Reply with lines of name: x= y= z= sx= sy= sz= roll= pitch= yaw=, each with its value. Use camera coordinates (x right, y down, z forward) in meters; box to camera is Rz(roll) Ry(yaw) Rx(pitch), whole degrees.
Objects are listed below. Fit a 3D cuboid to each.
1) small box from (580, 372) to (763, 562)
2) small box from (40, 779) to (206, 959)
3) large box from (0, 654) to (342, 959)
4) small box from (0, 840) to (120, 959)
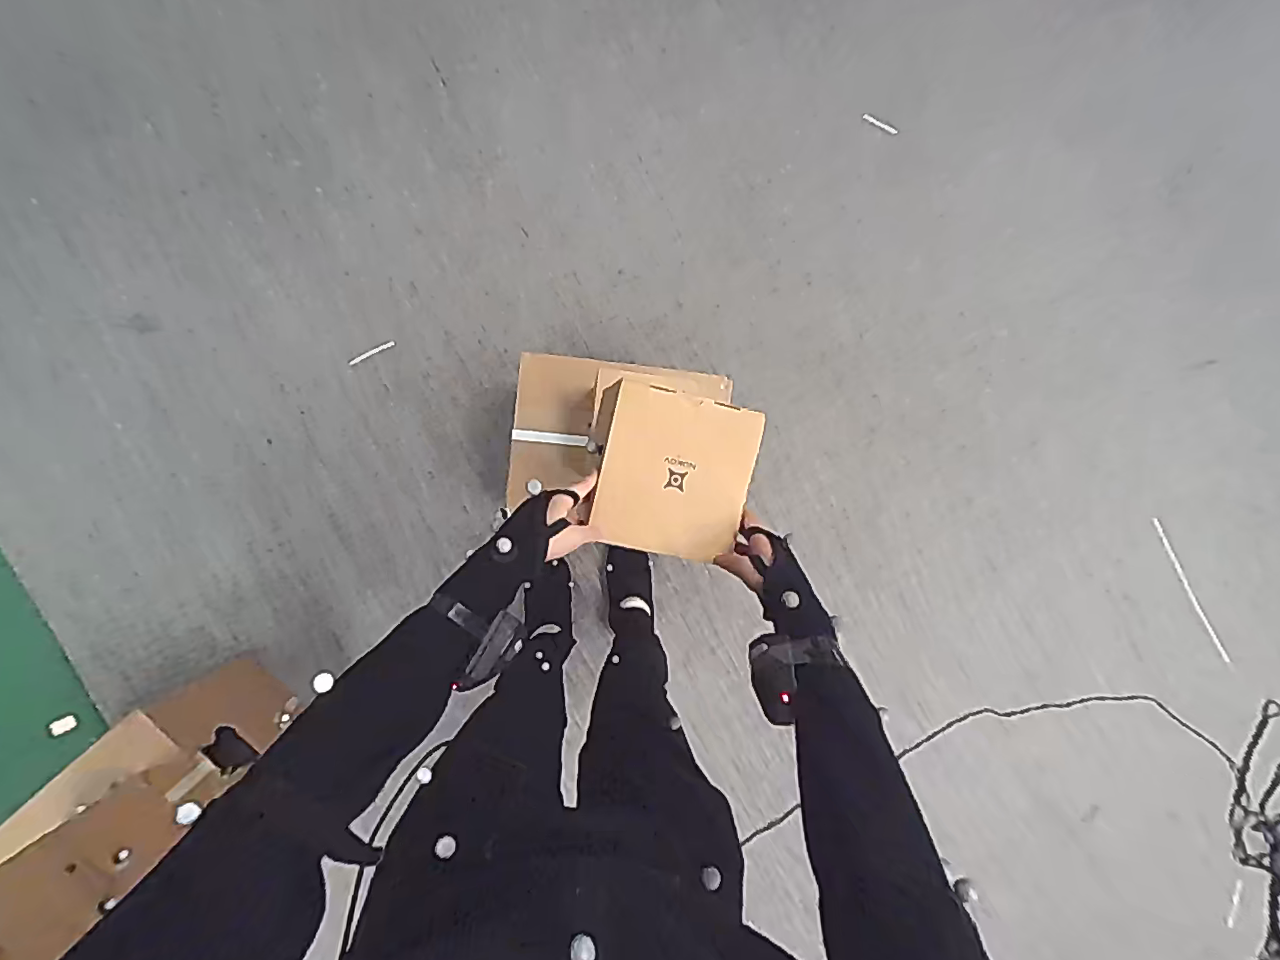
small box: x=0.025 y=-0.016 z=0.657 sx=0.168 sy=0.176 sz=0.179 roll=13 pitch=91 yaw=-10
small box: x=-0.832 y=0.607 z=0.824 sx=0.168 sy=0.176 sz=0.179 roll=-42 pitch=94 yaw=-6
large box: x=-0.902 y=0.629 z=1.061 sx=0.408 sy=0.320 sz=0.320 roll=-43 pitch=93 yaw=-5
small box: x=-0.810 y=0.600 z=0.662 sx=0.179 sy=0.176 sz=0.168 roll=-43 pitch=95 yaw=-6
